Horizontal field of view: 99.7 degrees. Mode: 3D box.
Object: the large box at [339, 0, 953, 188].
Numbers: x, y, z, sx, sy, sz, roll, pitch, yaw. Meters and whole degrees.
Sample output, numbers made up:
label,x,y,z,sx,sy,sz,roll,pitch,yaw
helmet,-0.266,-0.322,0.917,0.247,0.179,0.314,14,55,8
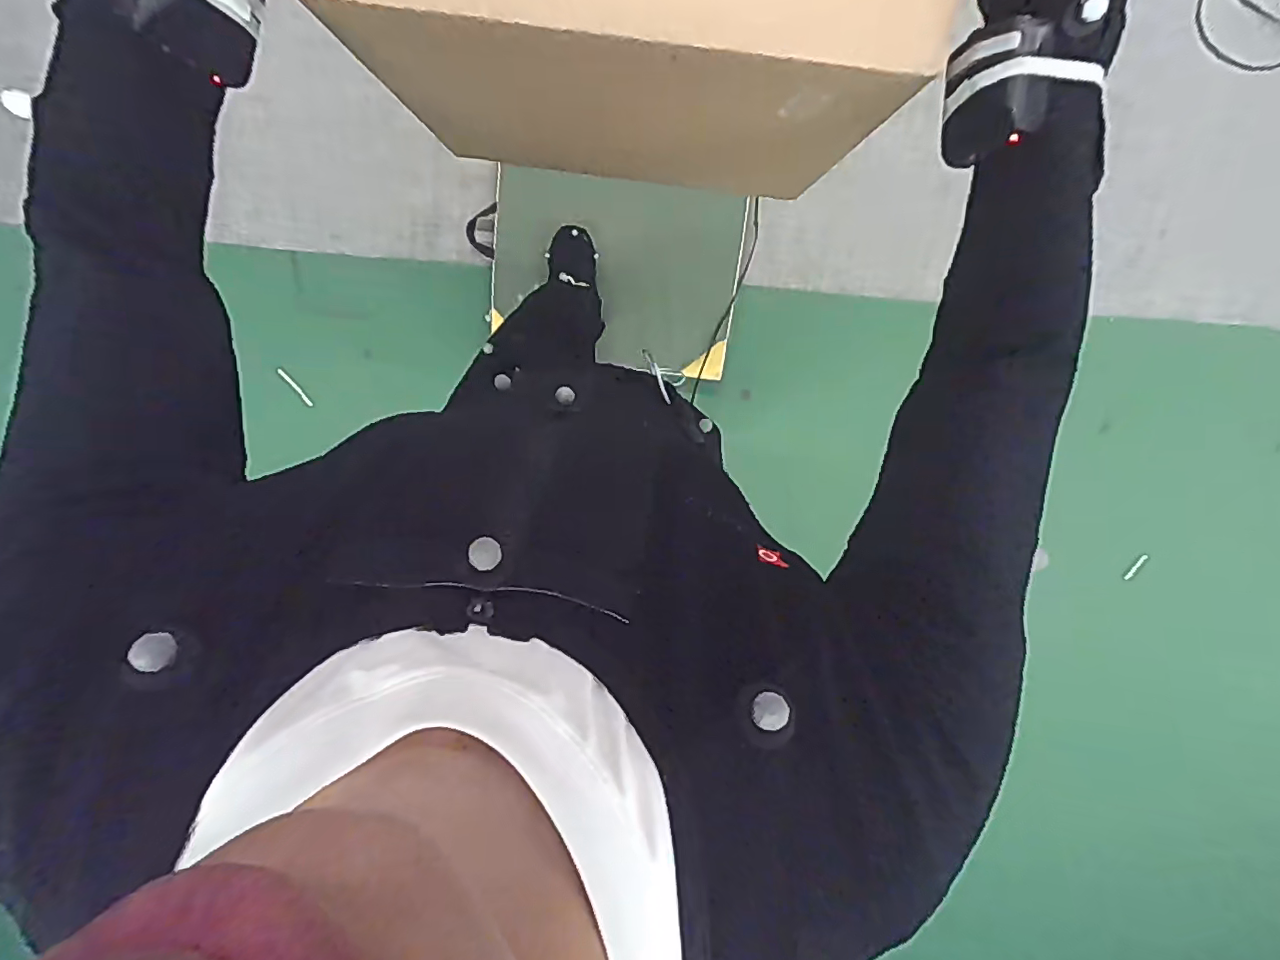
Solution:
label,x,y,z,sx,sy,sz,roll,pitch,yaw
large box,0.008,-0.469,0.450,0.408,0.320,0.320,5,105,-3
